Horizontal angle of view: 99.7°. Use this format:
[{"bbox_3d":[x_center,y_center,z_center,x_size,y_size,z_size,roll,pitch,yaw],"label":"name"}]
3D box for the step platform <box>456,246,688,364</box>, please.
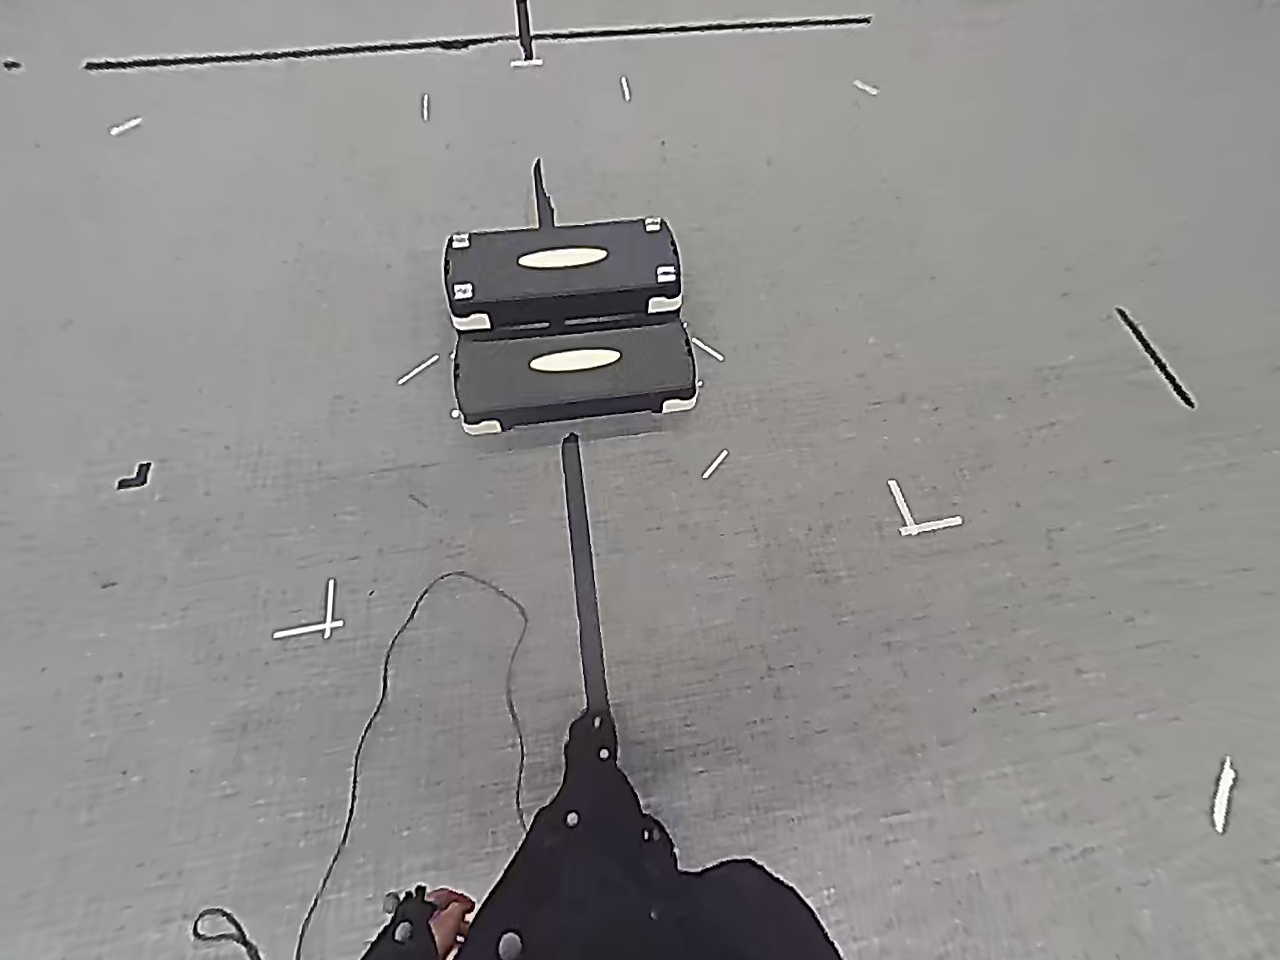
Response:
[{"bbox_3d":[-0.198,-0.538,1.641,0.684,0.204,0.286,-3,63,-4],"label":"step platform"}]
